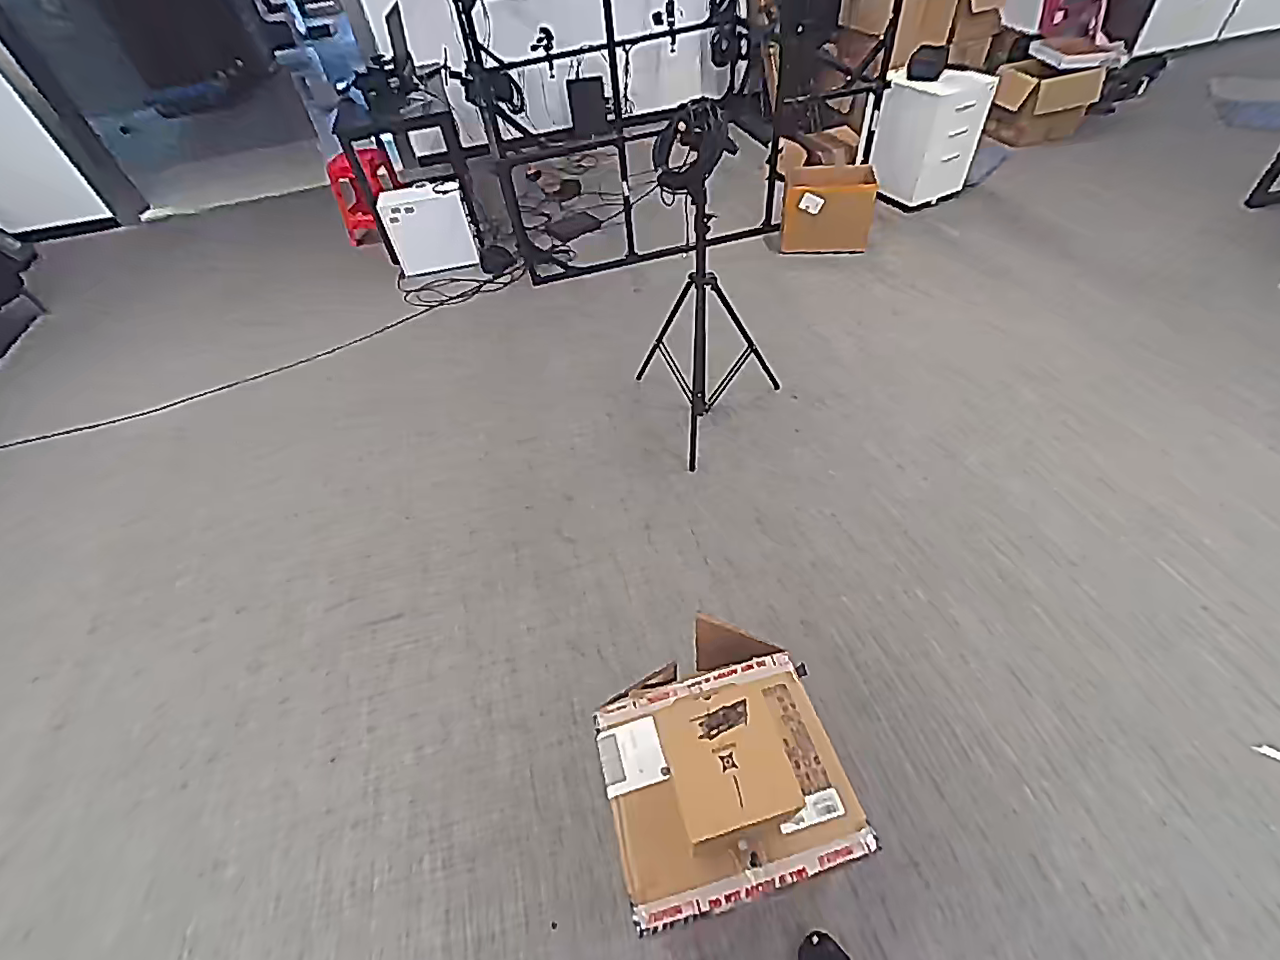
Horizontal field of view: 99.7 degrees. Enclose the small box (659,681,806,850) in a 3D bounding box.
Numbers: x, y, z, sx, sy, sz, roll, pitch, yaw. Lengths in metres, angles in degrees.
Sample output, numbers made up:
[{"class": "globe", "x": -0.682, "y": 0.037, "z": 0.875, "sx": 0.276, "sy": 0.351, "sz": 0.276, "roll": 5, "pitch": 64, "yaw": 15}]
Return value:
[{"class": "small box", "x": 0.131, "y": 0.442, "z": 0.834, "sx": 0.168, "sy": 0.176, "sz": 0.179, "roll": -15, "pitch": 52, "yaw": -6}]
